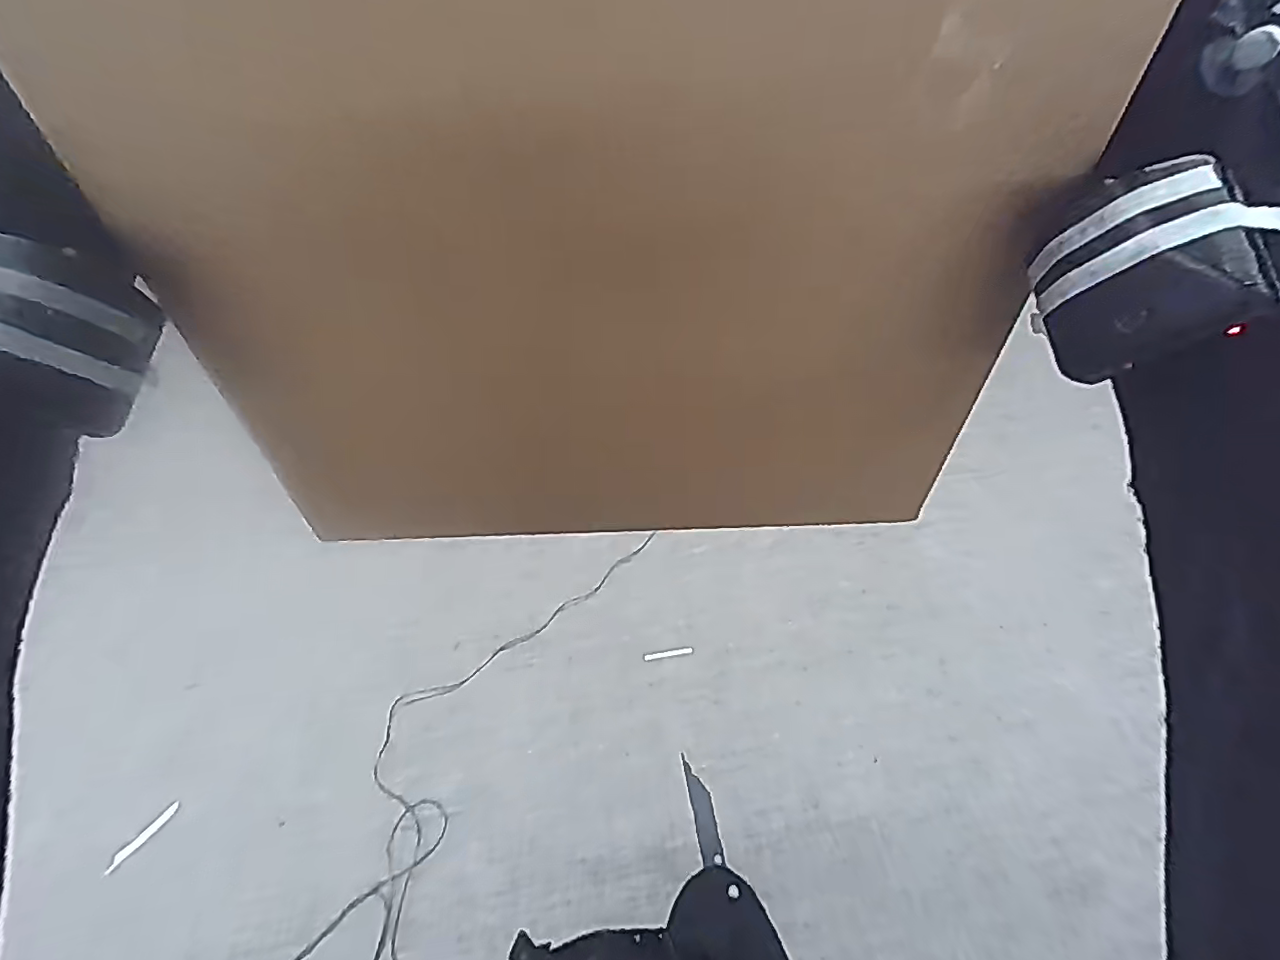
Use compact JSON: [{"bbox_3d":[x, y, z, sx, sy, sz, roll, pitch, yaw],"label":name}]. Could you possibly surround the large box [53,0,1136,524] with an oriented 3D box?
[{"bbox_3d":[-0.017,-0.186,0.383,0.408,0.320,0.320,-2,44,-2],"label":"large box"}]
